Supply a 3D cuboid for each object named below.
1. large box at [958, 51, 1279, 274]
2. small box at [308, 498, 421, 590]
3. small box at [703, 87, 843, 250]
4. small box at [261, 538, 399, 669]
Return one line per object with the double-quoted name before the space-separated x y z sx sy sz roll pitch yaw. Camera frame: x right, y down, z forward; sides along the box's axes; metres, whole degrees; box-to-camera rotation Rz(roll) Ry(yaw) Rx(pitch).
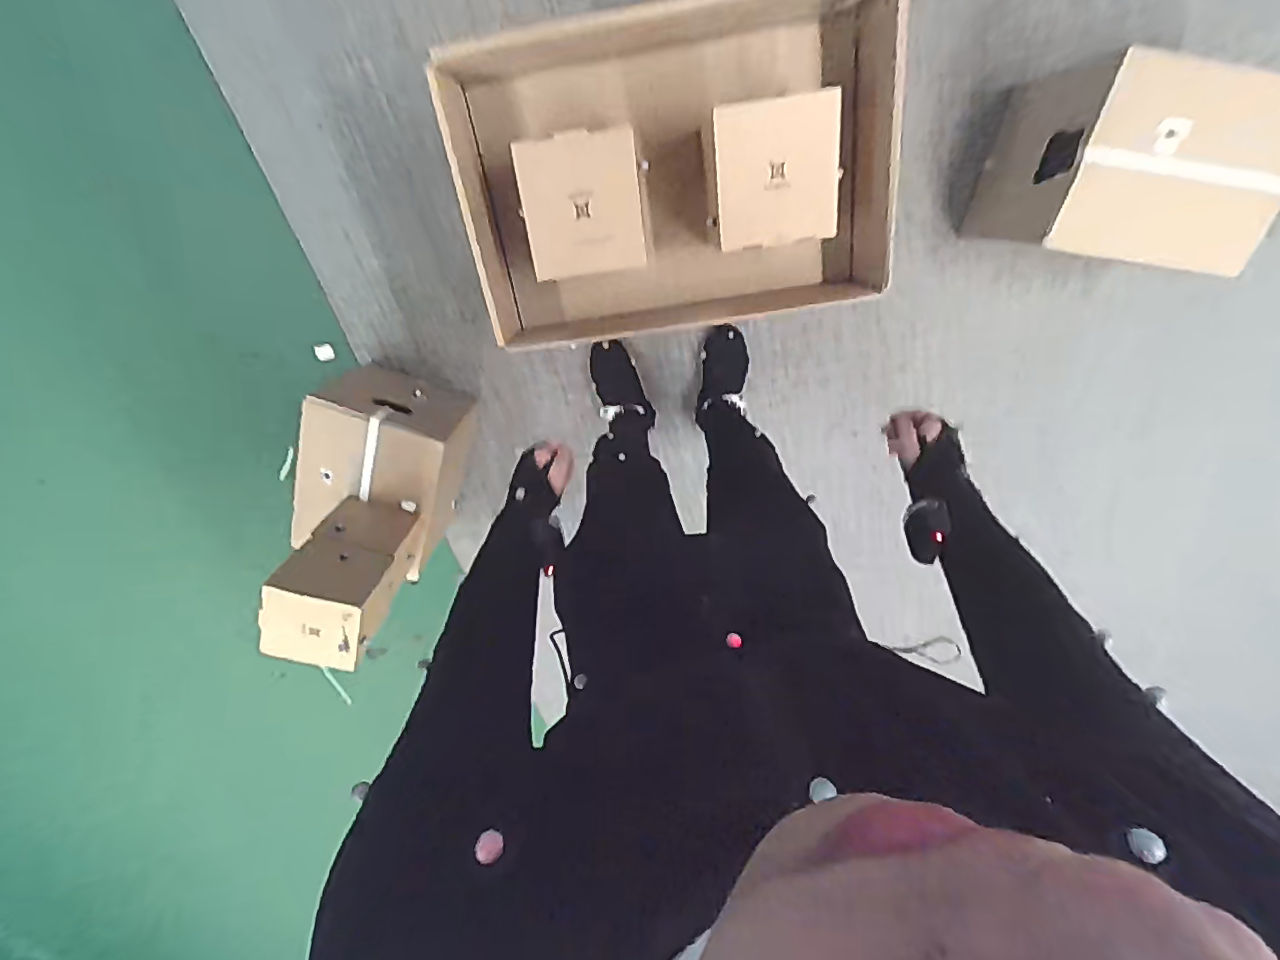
"large box" 0.972 -0.624 1.106 0.408 0.320 0.320 7 116 -3
"small box" -0.619 0.161 1.216 0.179 0.176 0.168 17 115 -10
"small box" 0.187 -0.450 0.799 0.168 0.176 0.179 -7 118 3
"small box" -0.607 0.237 1.070 0.179 0.176 0.168 17 115 -9
